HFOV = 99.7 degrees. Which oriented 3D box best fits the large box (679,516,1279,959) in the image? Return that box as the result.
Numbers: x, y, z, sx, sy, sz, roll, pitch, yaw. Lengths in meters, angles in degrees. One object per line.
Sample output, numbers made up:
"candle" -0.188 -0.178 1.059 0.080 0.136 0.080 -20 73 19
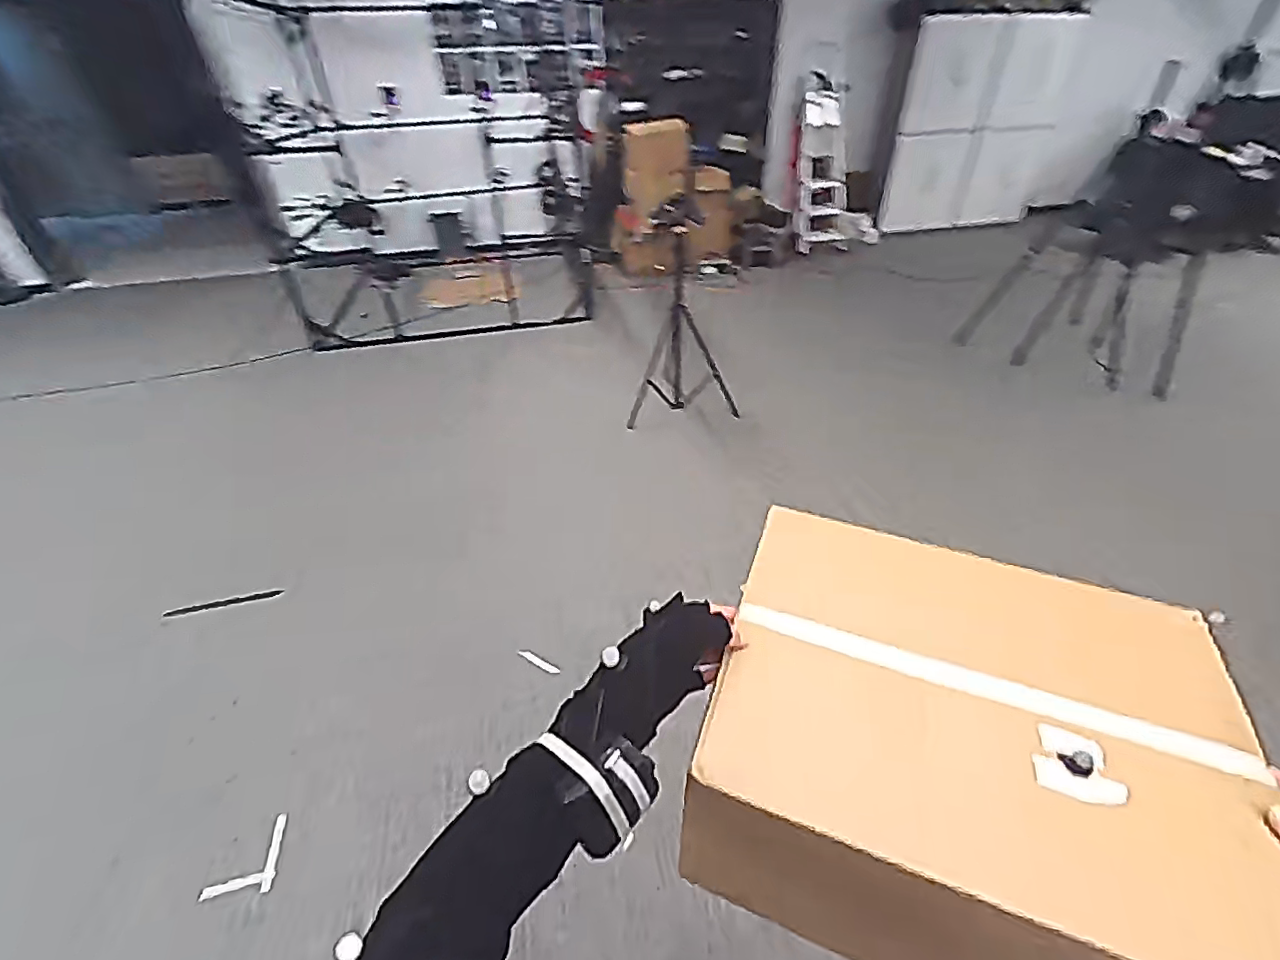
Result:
"large box" 0.277 0.289 0.575 0.408 0.320 0.320 14 45 15
